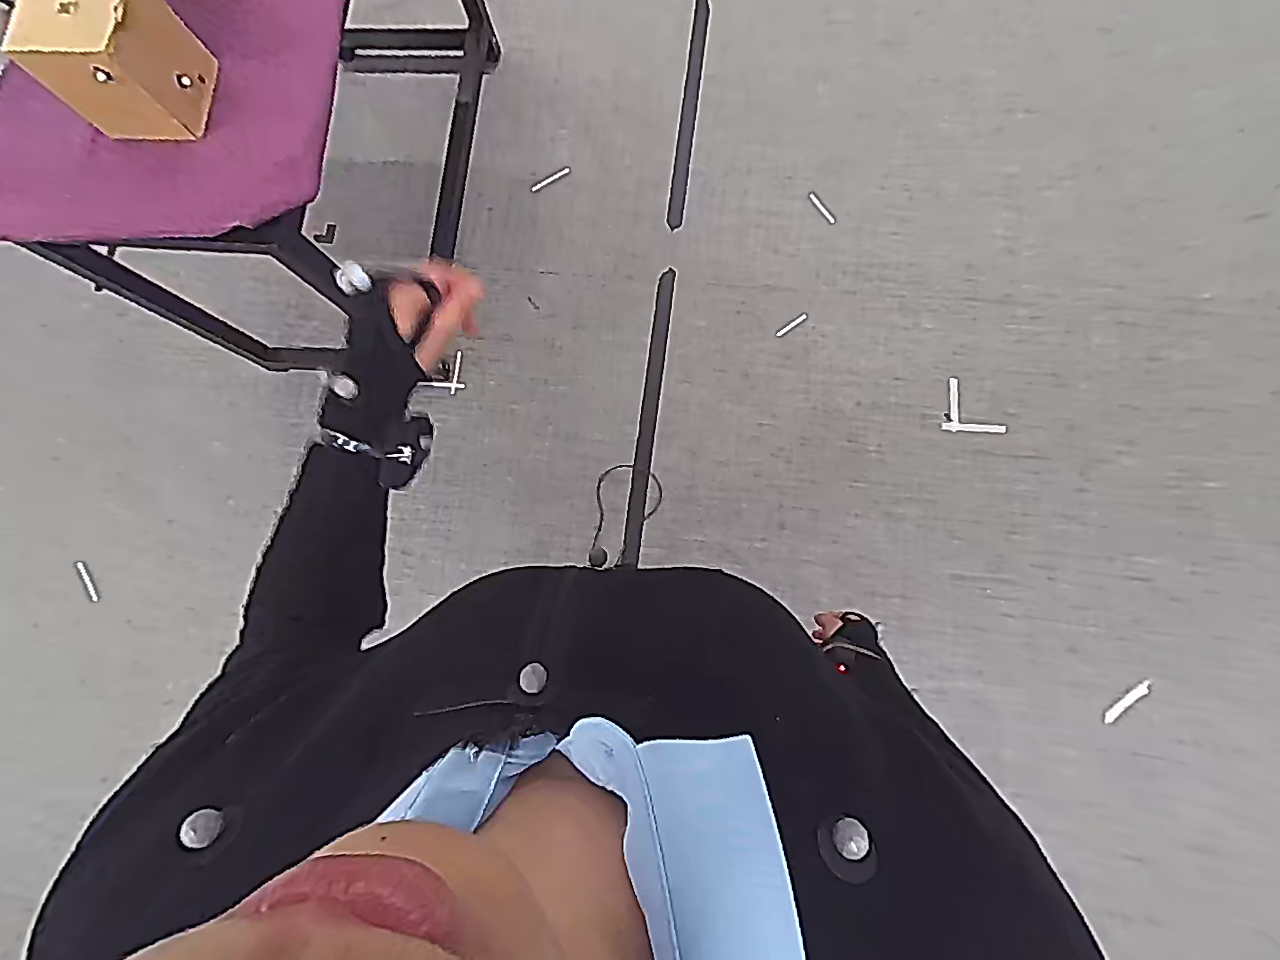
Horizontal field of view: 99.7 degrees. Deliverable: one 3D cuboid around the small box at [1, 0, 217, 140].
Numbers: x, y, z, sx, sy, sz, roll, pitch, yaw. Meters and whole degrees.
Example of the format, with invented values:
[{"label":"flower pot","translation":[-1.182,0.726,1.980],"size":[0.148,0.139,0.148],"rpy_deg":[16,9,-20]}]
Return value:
[{"label":"small box","translation":[-0.871,-0.704,0.906],"size":[0.179,0.176,0.168],"rpy_deg":[3,80,3]}]
